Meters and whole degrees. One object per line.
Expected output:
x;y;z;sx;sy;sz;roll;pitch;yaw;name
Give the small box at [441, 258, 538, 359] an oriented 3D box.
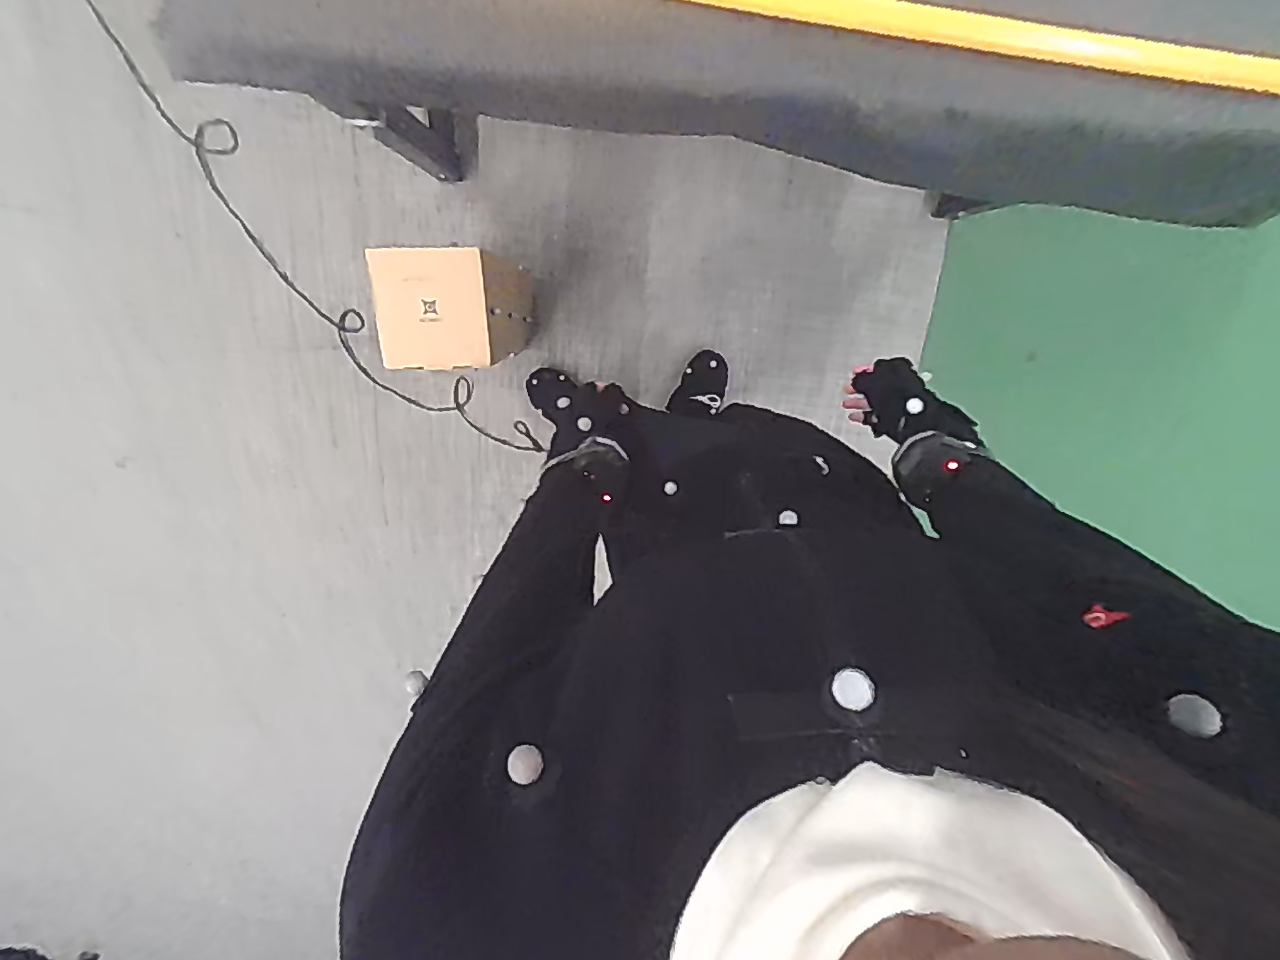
-0.327;-0.379;1.198;0.168;0.176;0.179;11;109;-6;small box
